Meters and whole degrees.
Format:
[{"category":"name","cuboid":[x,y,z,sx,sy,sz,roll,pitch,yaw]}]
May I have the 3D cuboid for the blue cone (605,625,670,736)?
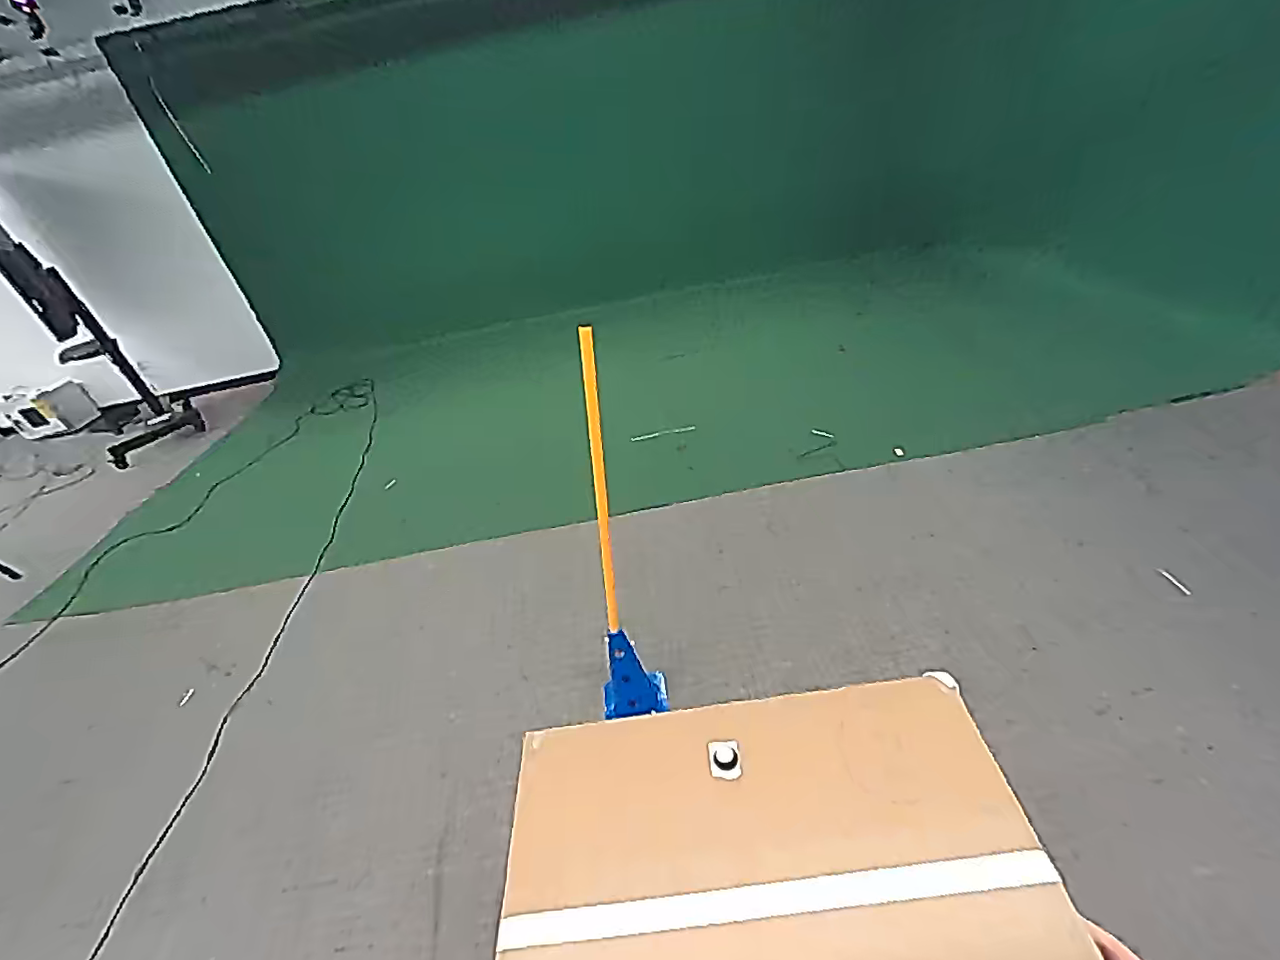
[{"category":"blue cone","cuboid":[-0.038,0.554,1.583,0.193,0.380,0.192,-11,34,-2]}]
